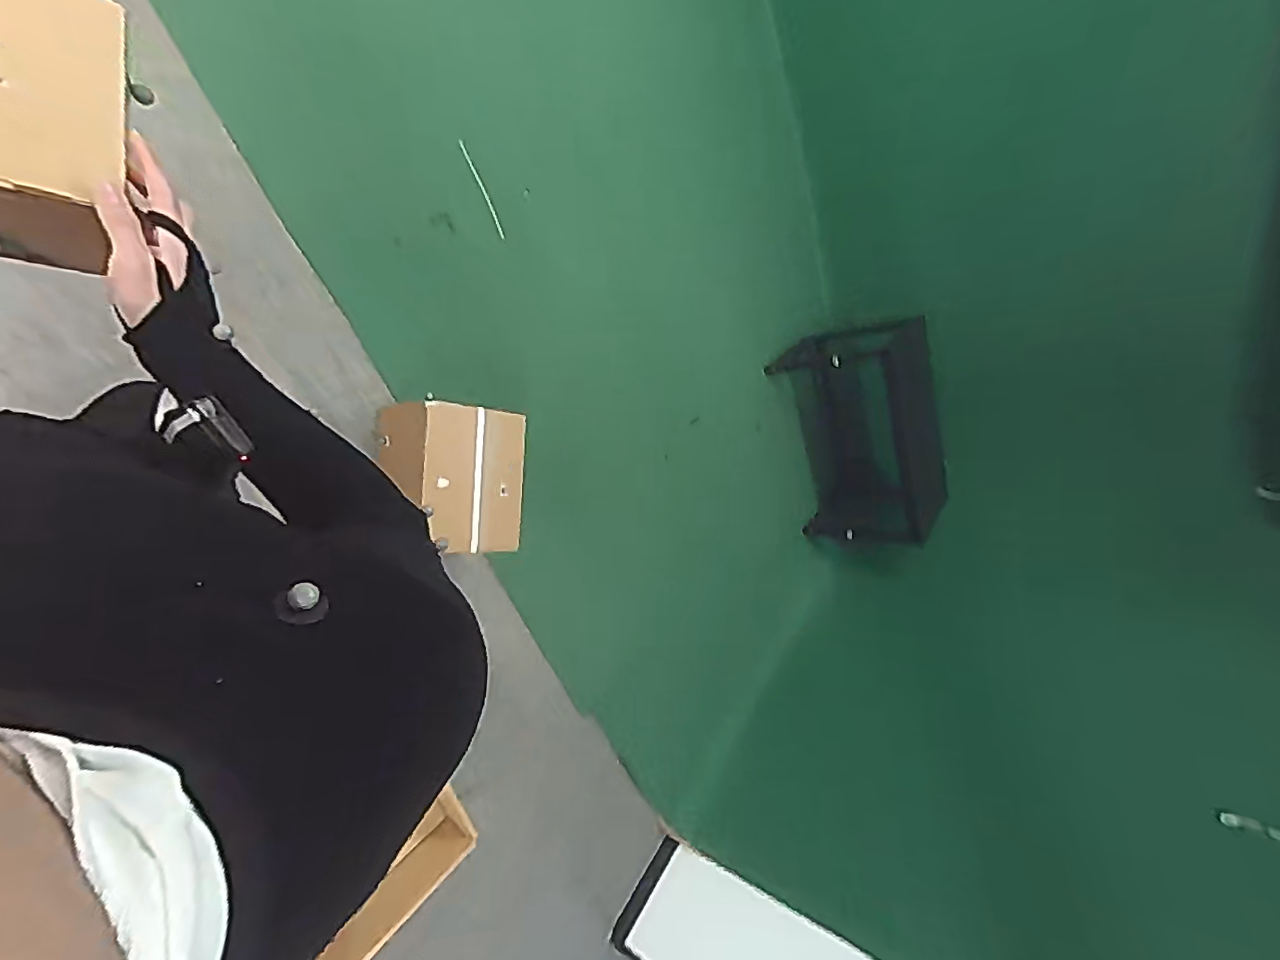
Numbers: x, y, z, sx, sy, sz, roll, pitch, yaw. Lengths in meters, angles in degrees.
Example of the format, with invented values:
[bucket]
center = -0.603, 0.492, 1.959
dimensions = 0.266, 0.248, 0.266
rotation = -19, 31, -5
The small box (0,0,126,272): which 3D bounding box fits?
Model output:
[small box]
center = -0.532, -0.298, 0.438
dimensions = 0.168, 0.176, 0.179
rotation = -1, 88, -43
